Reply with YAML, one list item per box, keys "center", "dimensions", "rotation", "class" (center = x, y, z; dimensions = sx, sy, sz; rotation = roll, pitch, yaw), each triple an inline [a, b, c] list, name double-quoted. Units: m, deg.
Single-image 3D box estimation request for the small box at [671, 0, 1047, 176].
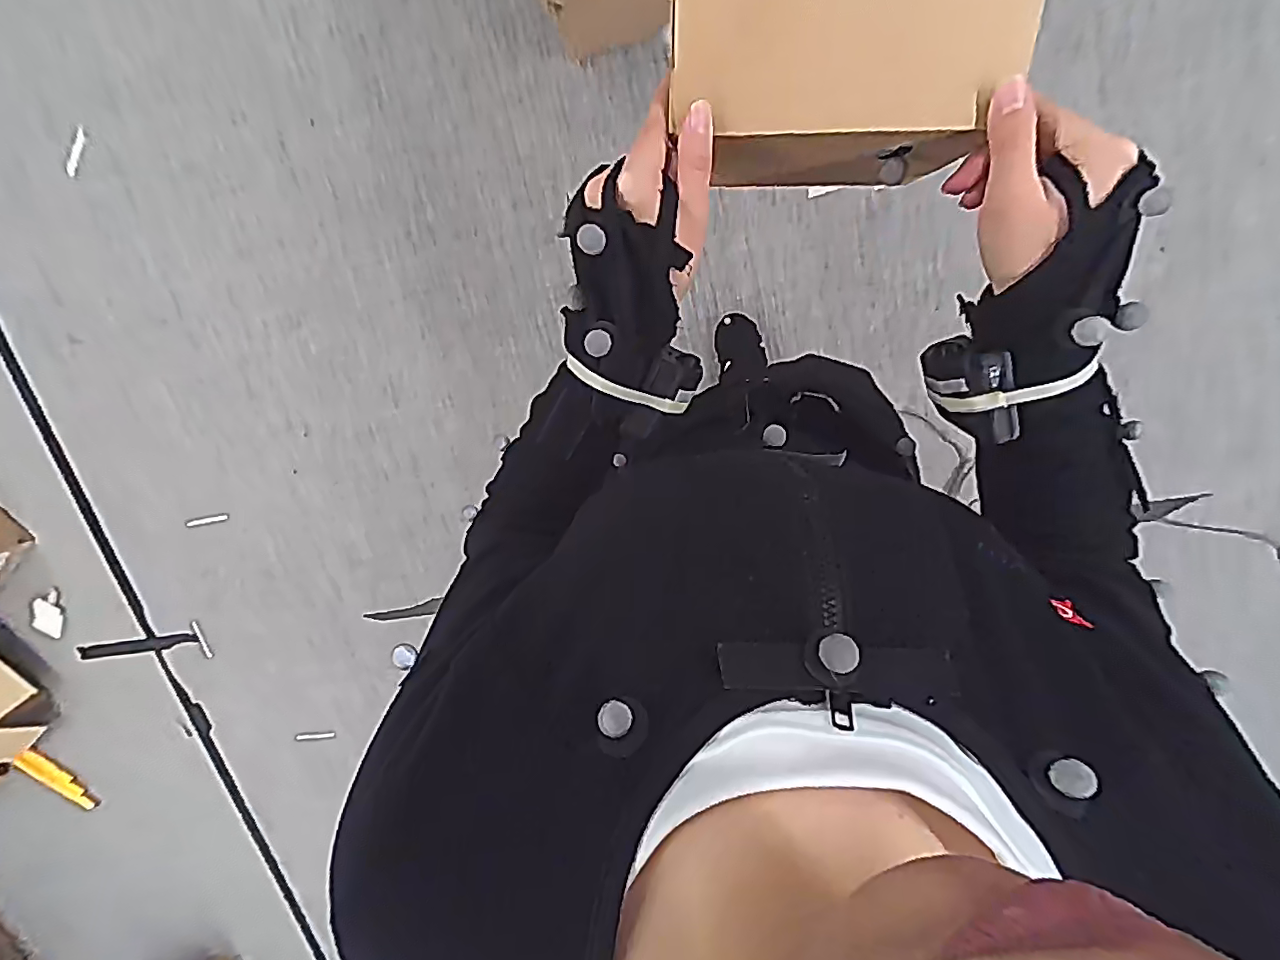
- center: [0.113, -0.289, 0.321]
  dimensions: [0.179, 0.176, 0.168]
  rotation: [3, 110, 8]
  class: "small box"
